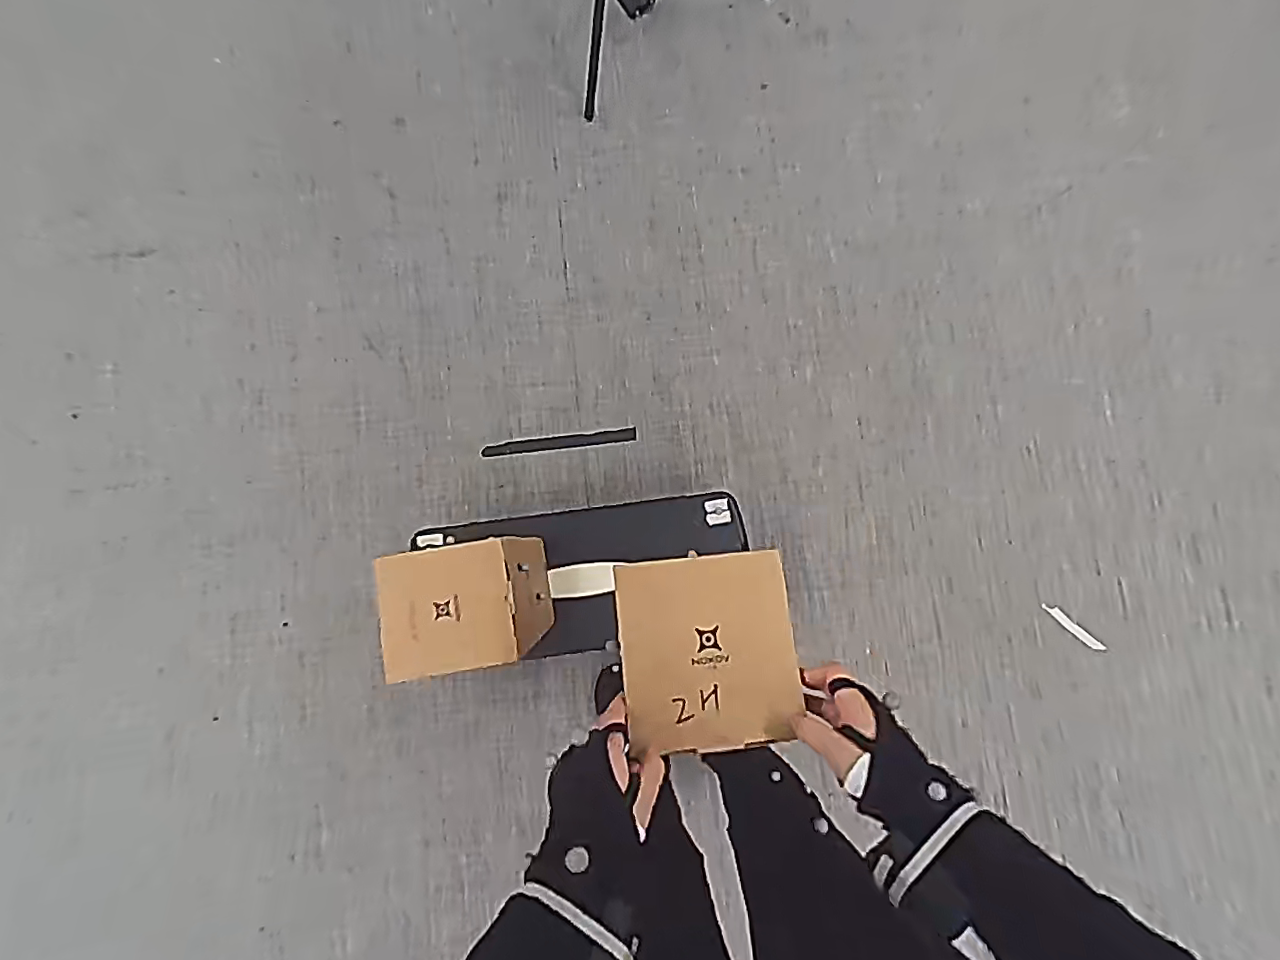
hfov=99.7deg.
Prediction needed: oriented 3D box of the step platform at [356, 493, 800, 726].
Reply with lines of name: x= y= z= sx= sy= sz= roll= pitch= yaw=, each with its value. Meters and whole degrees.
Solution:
step platform: x=-0.097 y=0.208 z=0.925 sx=0.684 sy=0.204 sz=0.286 roll=-7 pitch=83 yaw=-3

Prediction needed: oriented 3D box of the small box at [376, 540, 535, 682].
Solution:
small box: x=-0.257 y=0.181 z=0.796 sx=0.179 sy=0.176 sz=0.168 roll=-10 pitch=83 yaw=-2

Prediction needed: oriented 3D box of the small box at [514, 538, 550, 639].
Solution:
small box: x=-0.261 y=0.197 z=0.959 sx=0.179 sy=0.176 sz=0.168 roll=-9 pitch=84 yaw=-2

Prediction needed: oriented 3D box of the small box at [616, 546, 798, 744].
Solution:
small box: x=0.060 y=0.175 z=0.601 sx=0.168 sy=0.176 sz=0.179 roll=-5 pitch=77 yaw=-2
